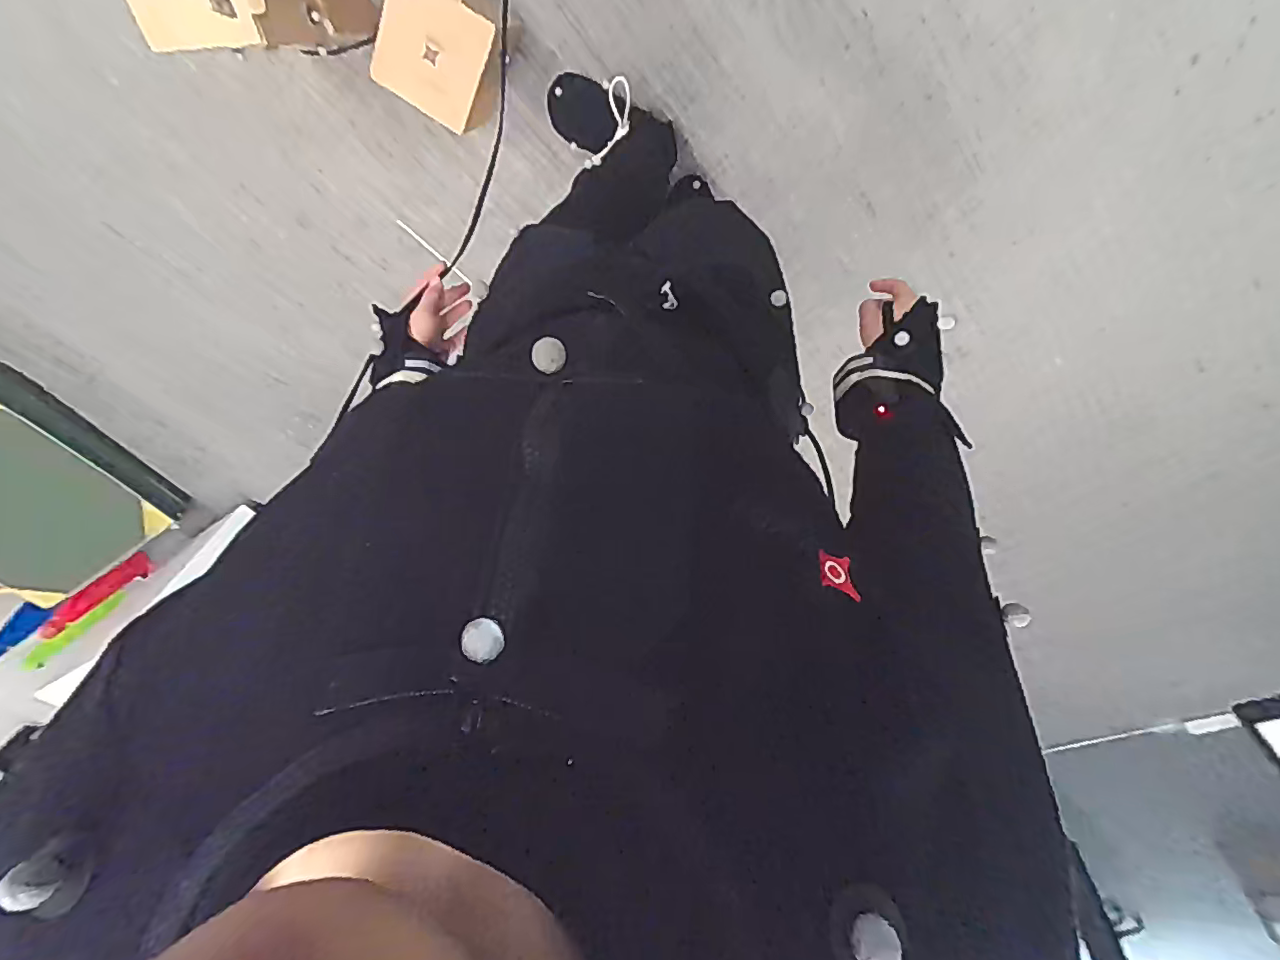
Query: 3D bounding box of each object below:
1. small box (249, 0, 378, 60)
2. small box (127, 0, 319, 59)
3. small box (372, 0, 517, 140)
[{"bbox_3d":[-0.567,-0.814,0.882,0.168,0.176,0.179,-3,130,9],"label":"small box"},{"bbox_3d":[-0.592,-0.705,0.761,0.179,0.176,0.168,1,129,7],"label":"small box"},{"bbox_3d":[-0.326,-0.732,0.929,0.168,0.176,0.179,27,128,-15],"label":"small box"}]
